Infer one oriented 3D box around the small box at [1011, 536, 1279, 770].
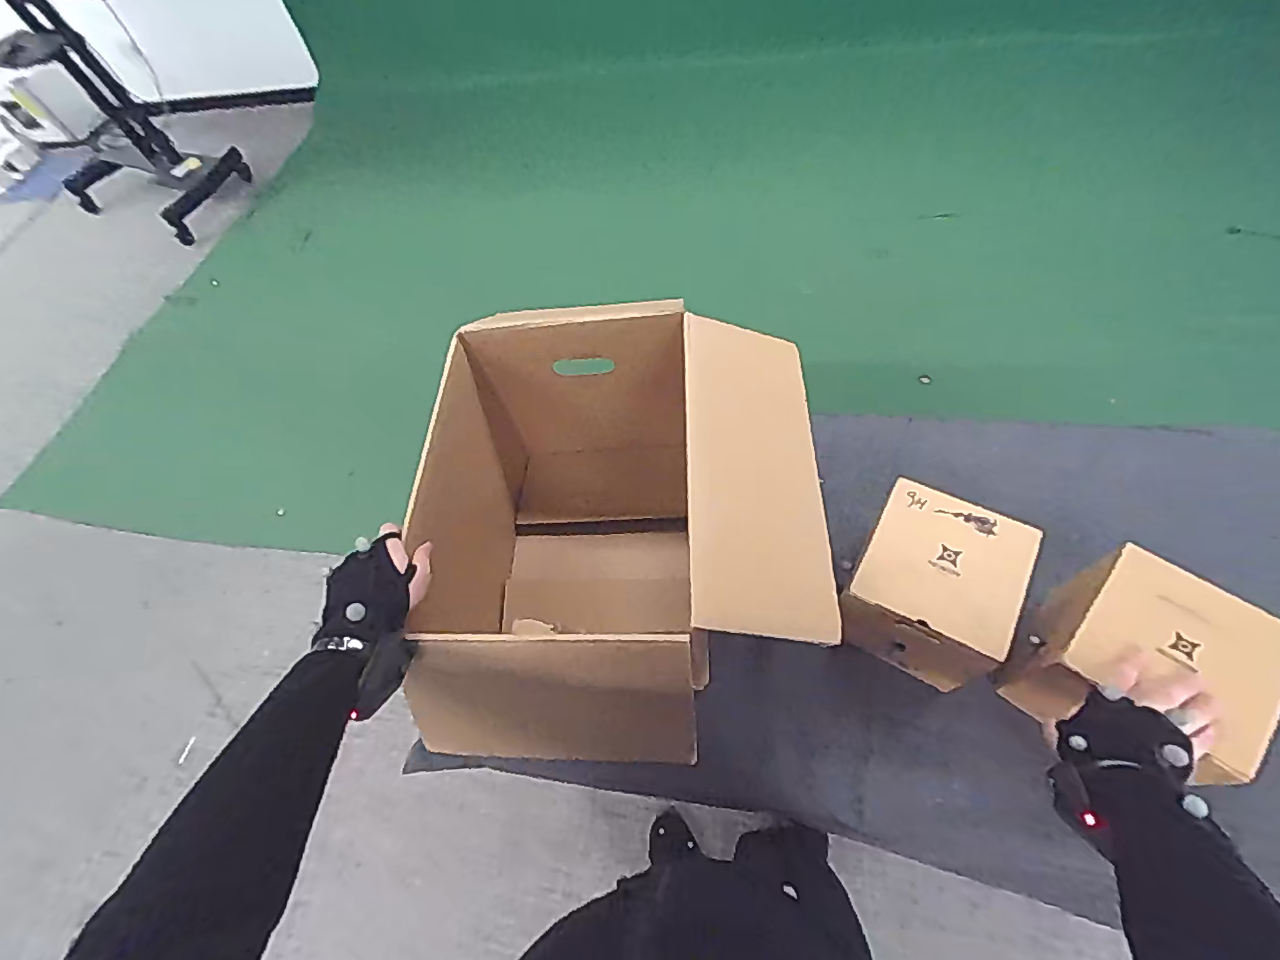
[{"bbox_3d":[0.565,0.202,0.614,0.168,0.176,0.179,35,70,24],"label":"small box"}]
